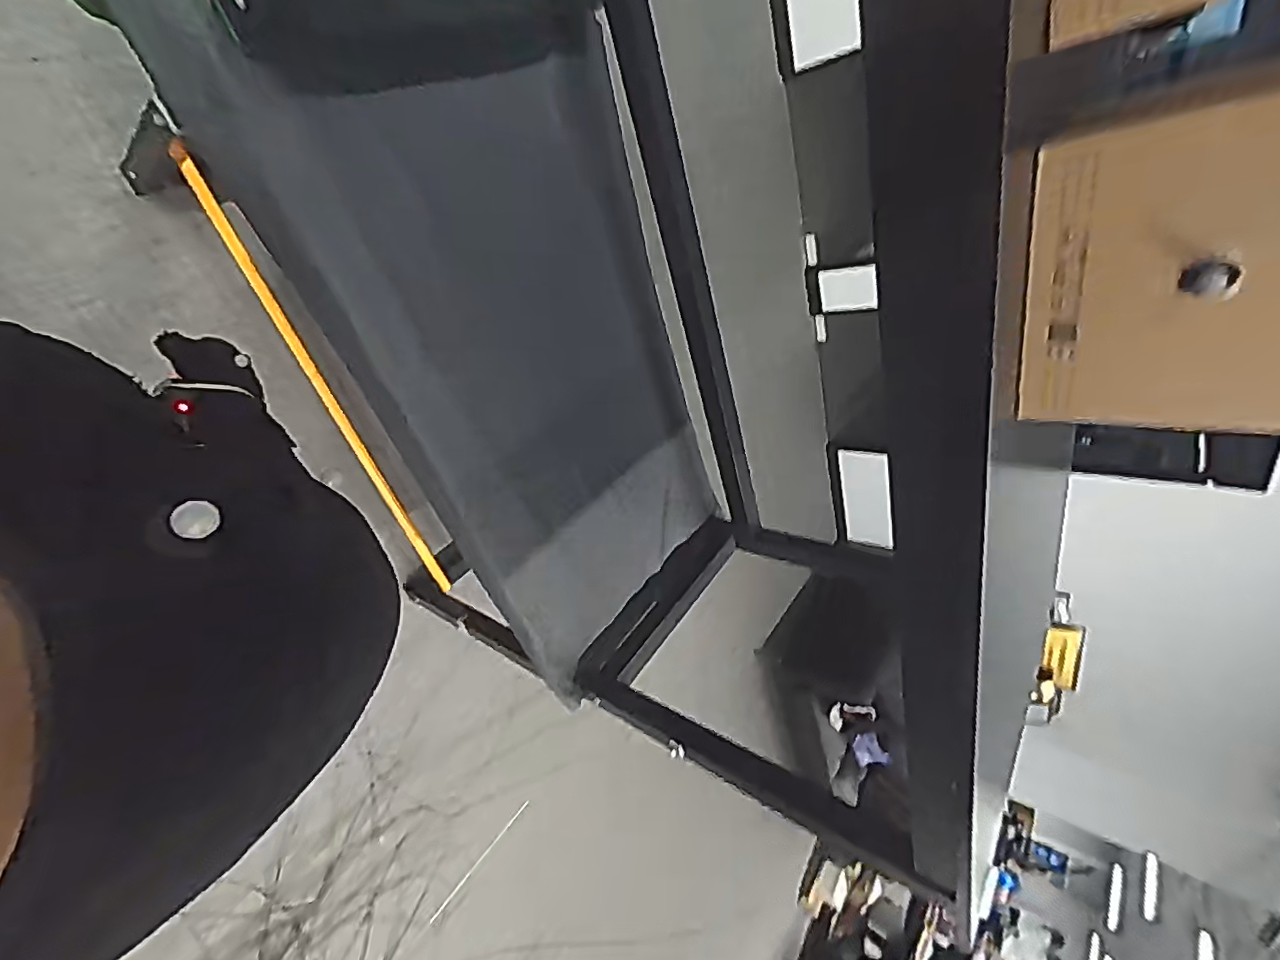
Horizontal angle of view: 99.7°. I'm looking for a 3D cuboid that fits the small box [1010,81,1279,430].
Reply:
[{"bbox_3d":[0.350,-0.139,0.339,0.179,0.176,0.168,-41,127,-36],"label":"small box"}]
